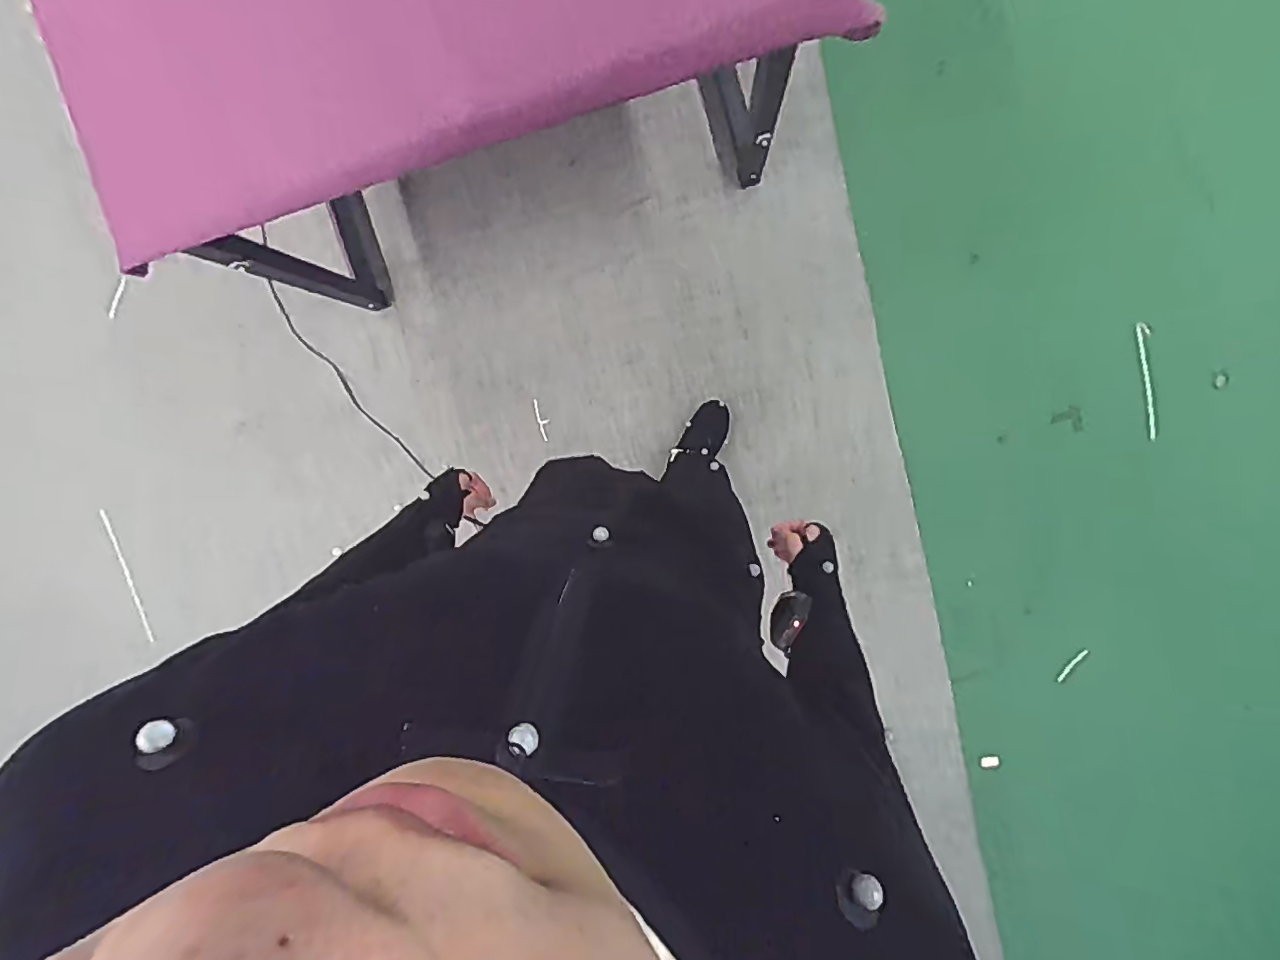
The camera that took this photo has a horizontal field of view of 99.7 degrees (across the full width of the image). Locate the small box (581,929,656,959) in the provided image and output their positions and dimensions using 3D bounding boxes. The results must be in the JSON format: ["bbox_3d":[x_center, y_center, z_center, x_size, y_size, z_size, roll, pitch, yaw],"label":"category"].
[{"bbox_3d":[-0.047,1.205,1.273,0.168,0.176,0.179,-14,97,6],"label":"small box"}]
